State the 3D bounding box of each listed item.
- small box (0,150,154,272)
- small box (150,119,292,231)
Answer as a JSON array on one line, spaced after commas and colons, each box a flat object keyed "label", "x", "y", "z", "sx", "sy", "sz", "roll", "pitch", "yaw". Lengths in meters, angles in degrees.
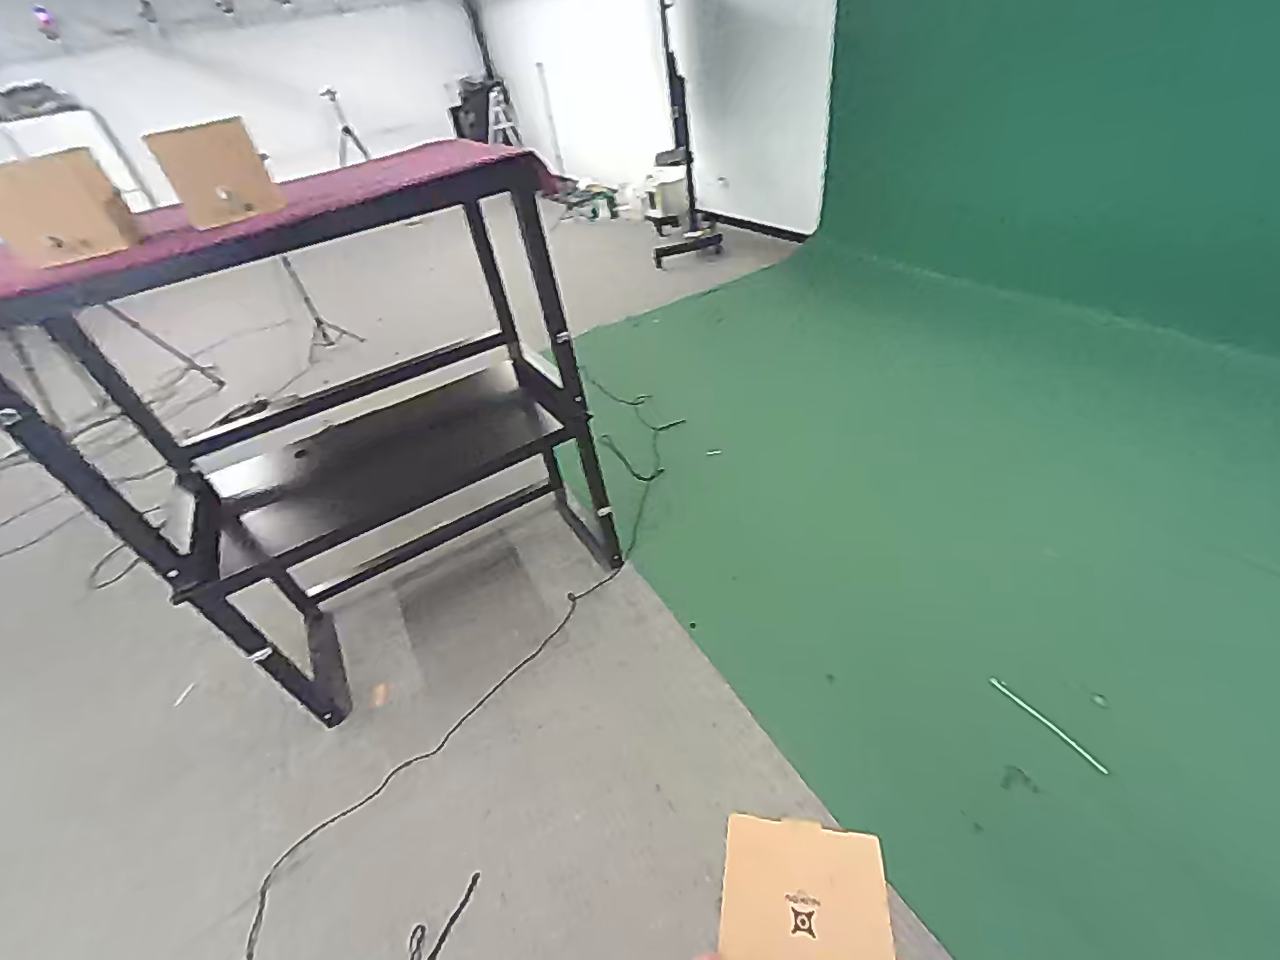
[{"label": "small box", "x": -1.088, "y": -0.515, "z": 1.035, "sx": 0.168, "sy": 0.176, "sz": 0.179, "roll": -25, "pitch": 41, "yaw": -15}, {"label": "small box", "x": -0.849, "y": -0.630, "z": 1.118, "sx": 0.168, "sy": 0.176, "sz": 0.179, "roll": -25, "pitch": 41, "yaw": -17}]
